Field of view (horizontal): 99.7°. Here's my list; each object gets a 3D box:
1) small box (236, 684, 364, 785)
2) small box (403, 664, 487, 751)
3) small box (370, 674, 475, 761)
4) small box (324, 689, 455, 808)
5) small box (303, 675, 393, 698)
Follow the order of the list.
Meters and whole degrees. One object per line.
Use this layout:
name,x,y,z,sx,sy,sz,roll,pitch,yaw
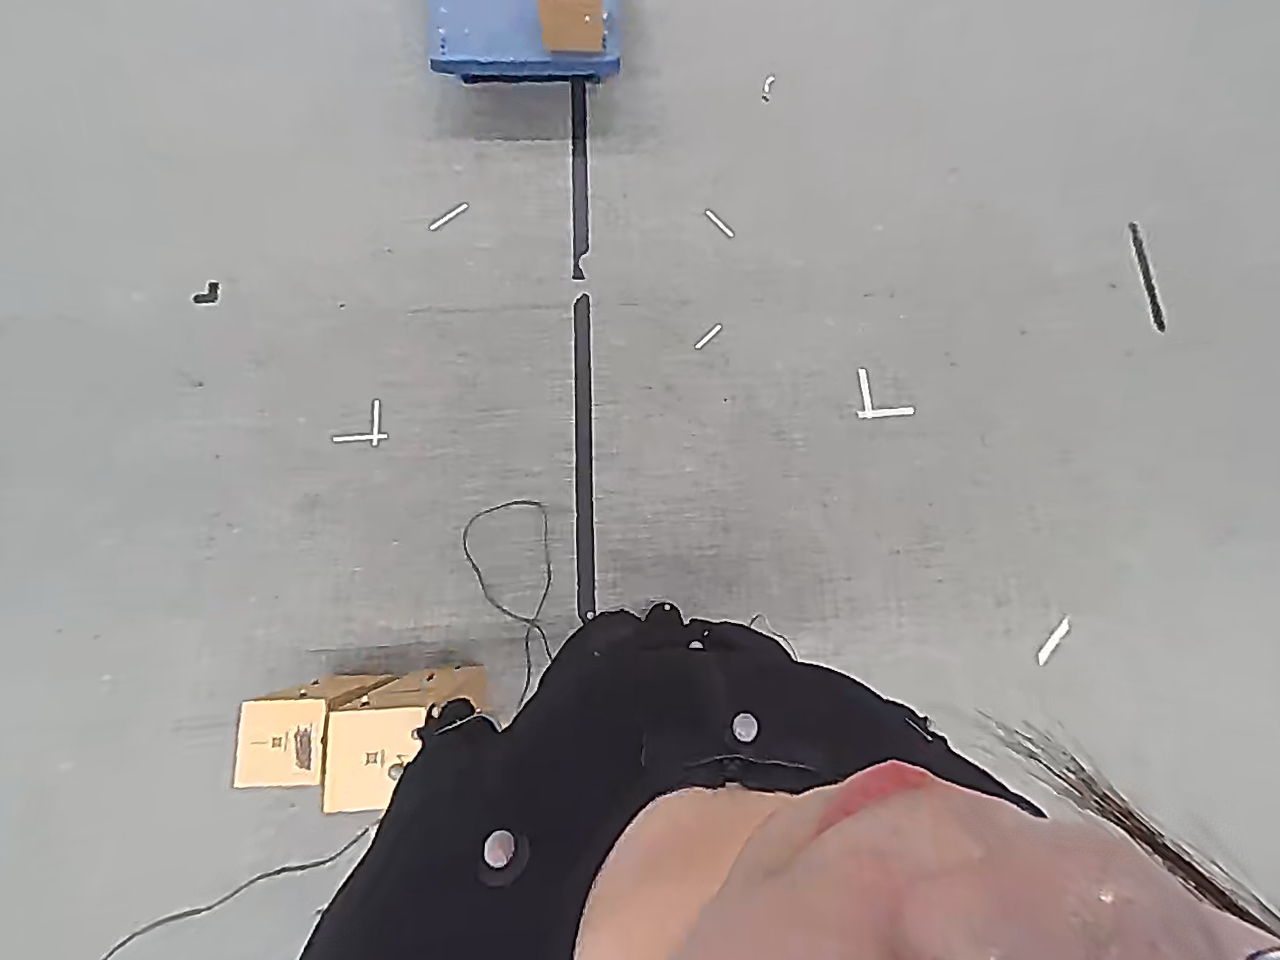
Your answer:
small box,-0.729,0.547,1.181,0.179,0.176,0.168,-1,79,-1
small box,-0.485,0.567,1.354,0.168,0.176,0.179,-2,78,-3
small box,-0.476,0.530,1.195,0.179,0.176,0.168,-3,79,-3
small box,-0.467,0.503,1.032,0.179,0.176,0.168,-2,79,-4
small box,-0.734,0.582,1.342,0.179,0.176,0.168,0,79,-1
